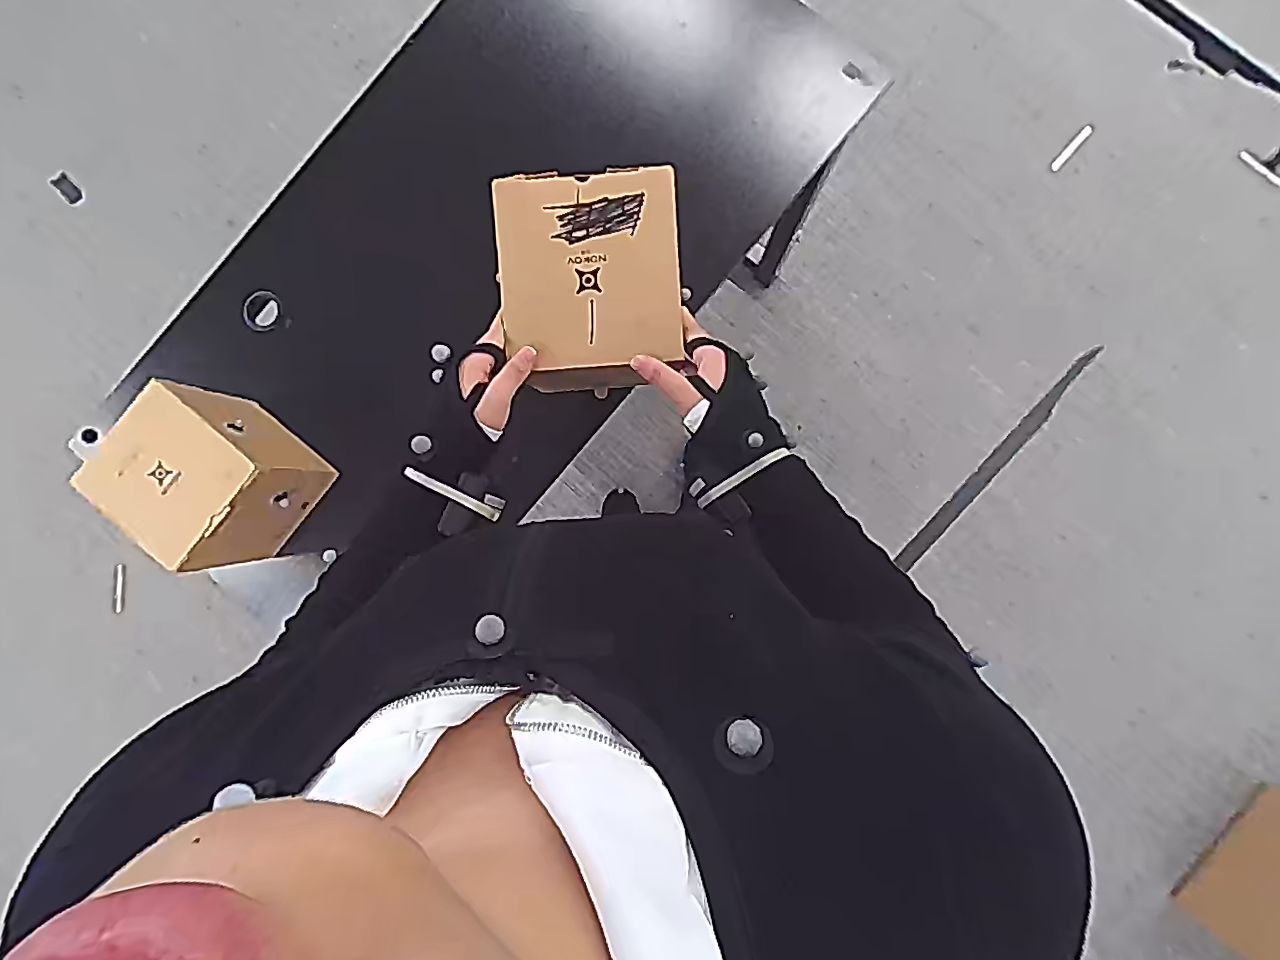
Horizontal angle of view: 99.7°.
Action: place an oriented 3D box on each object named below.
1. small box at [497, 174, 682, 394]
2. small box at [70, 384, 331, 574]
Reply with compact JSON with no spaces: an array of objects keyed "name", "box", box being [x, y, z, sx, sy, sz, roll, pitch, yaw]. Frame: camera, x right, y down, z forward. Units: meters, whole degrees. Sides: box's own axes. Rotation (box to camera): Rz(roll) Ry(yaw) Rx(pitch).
[{"name":"small box","box":[-0.045,-0.192,0.575,0.168,0.176,0.179,-3,93,1]},{"name":"small box","box":[-0.569,0.000,0.729,0.179,0.176,0.168,38,89,4]}]
